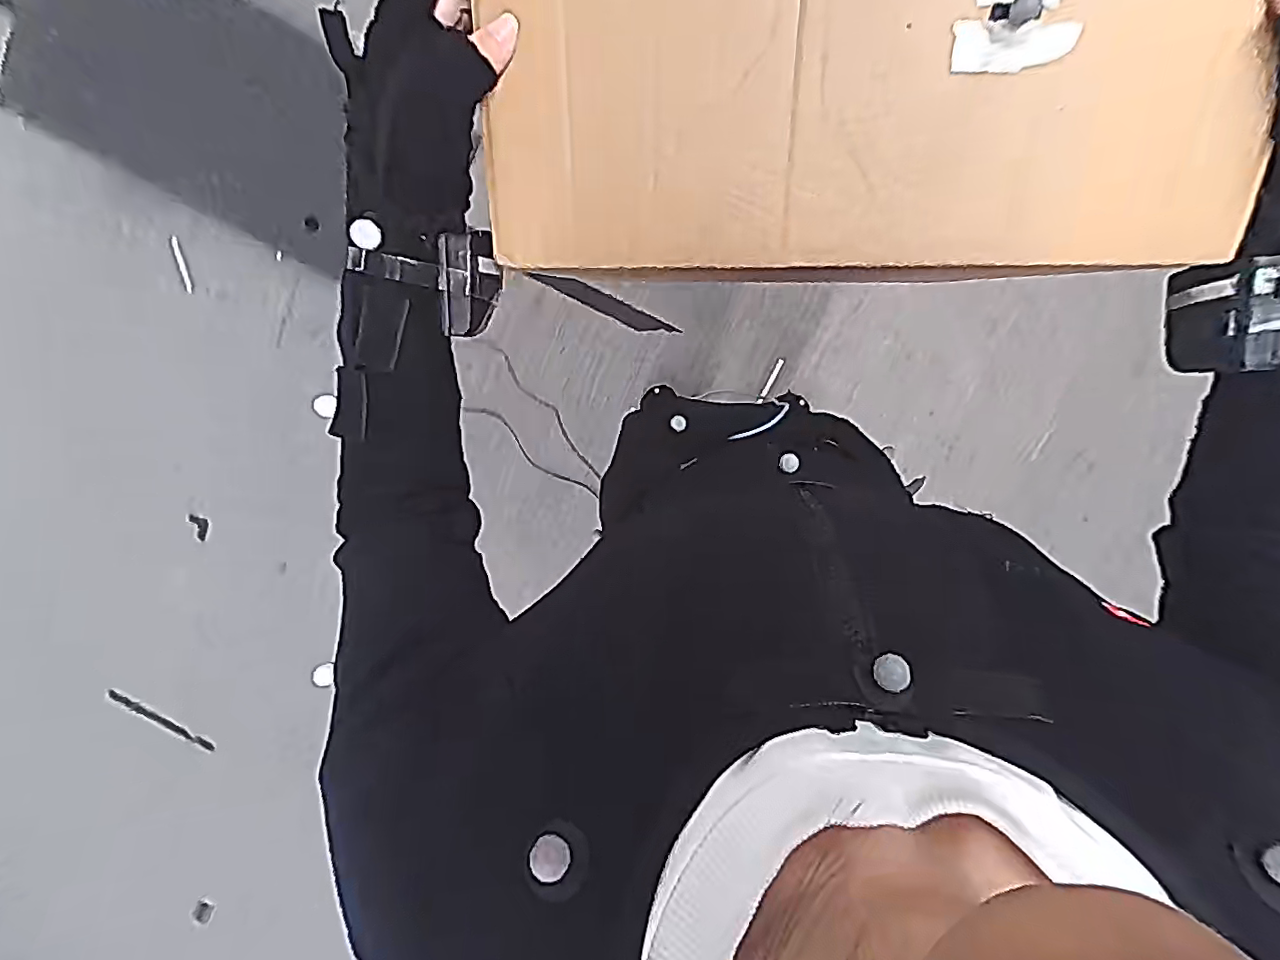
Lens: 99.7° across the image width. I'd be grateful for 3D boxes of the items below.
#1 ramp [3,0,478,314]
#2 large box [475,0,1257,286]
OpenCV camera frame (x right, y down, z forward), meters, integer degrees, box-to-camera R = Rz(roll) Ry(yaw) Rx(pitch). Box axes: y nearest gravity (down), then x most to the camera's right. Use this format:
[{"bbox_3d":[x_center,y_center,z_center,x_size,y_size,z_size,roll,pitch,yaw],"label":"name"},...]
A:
[{"bbox_3d":[-0.947,-0.866,1.314,0.991,0.206,0.509,27,102,0],"label":"ramp"},{"bbox_3d":[0.115,-0.323,0.412,0.408,0.320,0.320,0,109,4],"label":"large box"}]
